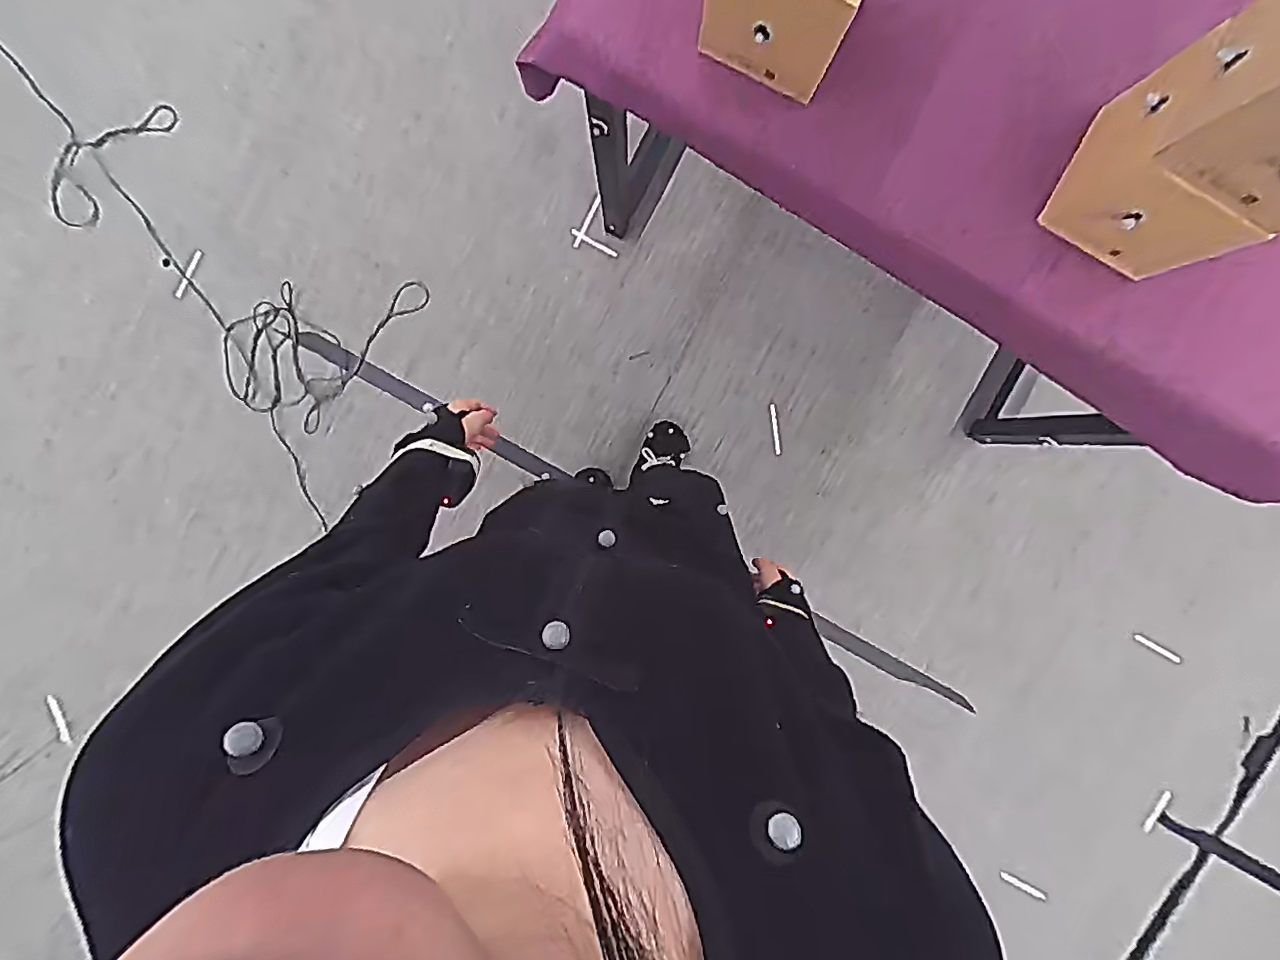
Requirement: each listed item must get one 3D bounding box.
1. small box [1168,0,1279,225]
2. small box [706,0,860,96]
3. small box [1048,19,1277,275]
[{"bbox_3d":[0.659,-0.373,0.496,0.168,0.176,0.179,30,94,-2],"label":"small box"},{"bbox_3d":[0.188,-0.607,0.634,0.168,0.176,0.179,25,93,-3],"label":"small box"},{"bbox_3d":[0.655,-0.382,0.660,0.168,0.176,0.179,29,93,-2],"label":"small box"}]
